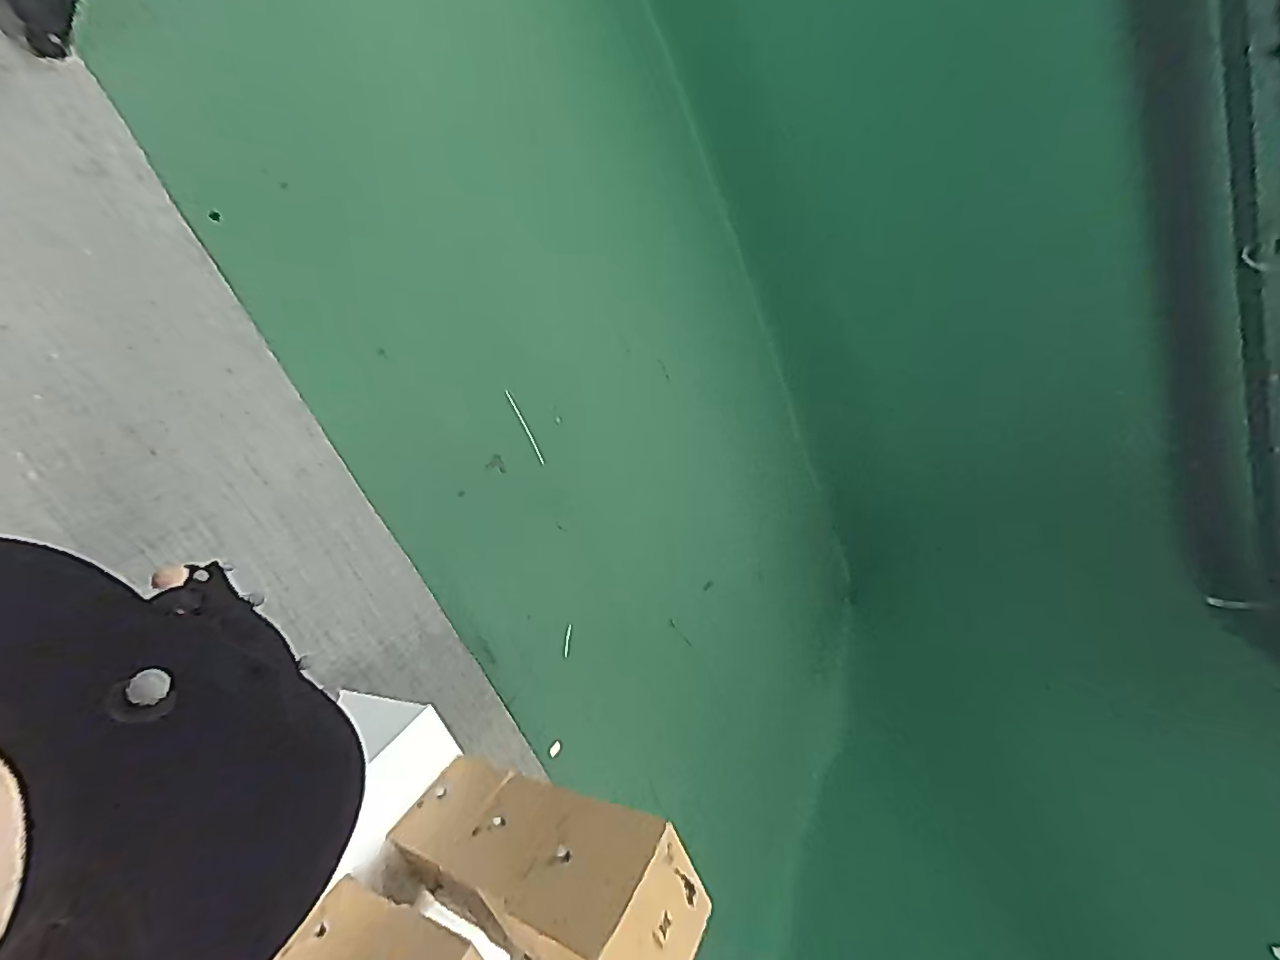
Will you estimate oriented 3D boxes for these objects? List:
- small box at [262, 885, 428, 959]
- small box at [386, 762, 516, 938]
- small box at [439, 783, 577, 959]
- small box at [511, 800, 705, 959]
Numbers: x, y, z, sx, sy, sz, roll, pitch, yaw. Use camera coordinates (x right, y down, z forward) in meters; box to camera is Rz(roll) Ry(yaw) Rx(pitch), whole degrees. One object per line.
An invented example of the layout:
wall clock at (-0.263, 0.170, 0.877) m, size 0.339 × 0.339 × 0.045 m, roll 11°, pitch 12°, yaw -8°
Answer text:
small box at (-0.411, 0.717, 0.755) m, size 0.168 × 0.176 × 0.179 m, roll -41°, pitch 113°, yaw -50°
small box at (-0.294, 0.618, 0.929) m, size 0.168 × 0.176 × 0.179 m, roll -42°, pitch 113°, yaw -47°
small box at (-0.167, 0.600, 0.826) m, size 0.168 × 0.176 × 0.179 m, roll -41°, pitch 113°, yaw -48°
small box at (-0.046, 0.571, 0.719) m, size 0.179 × 0.176 × 0.168 m, roll -39°, pitch 112°, yaw -47°
